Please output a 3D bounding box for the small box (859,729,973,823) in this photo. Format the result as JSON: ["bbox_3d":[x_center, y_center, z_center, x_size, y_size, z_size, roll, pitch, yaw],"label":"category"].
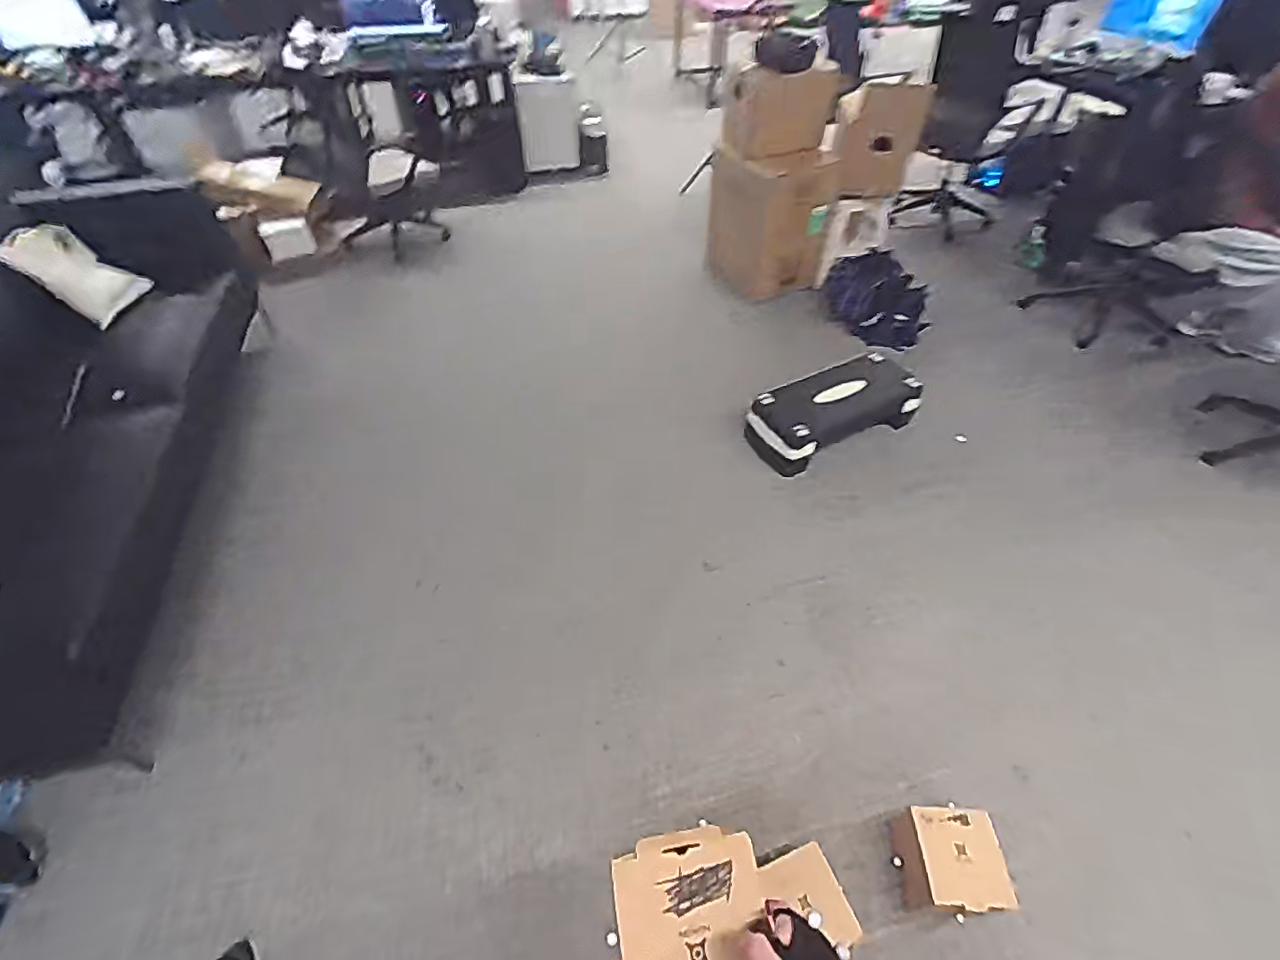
[{"bbox_3d":[0.636,0.698,1.268,0.168,0.176,0.179,2,55,1],"label":"small box"}]
